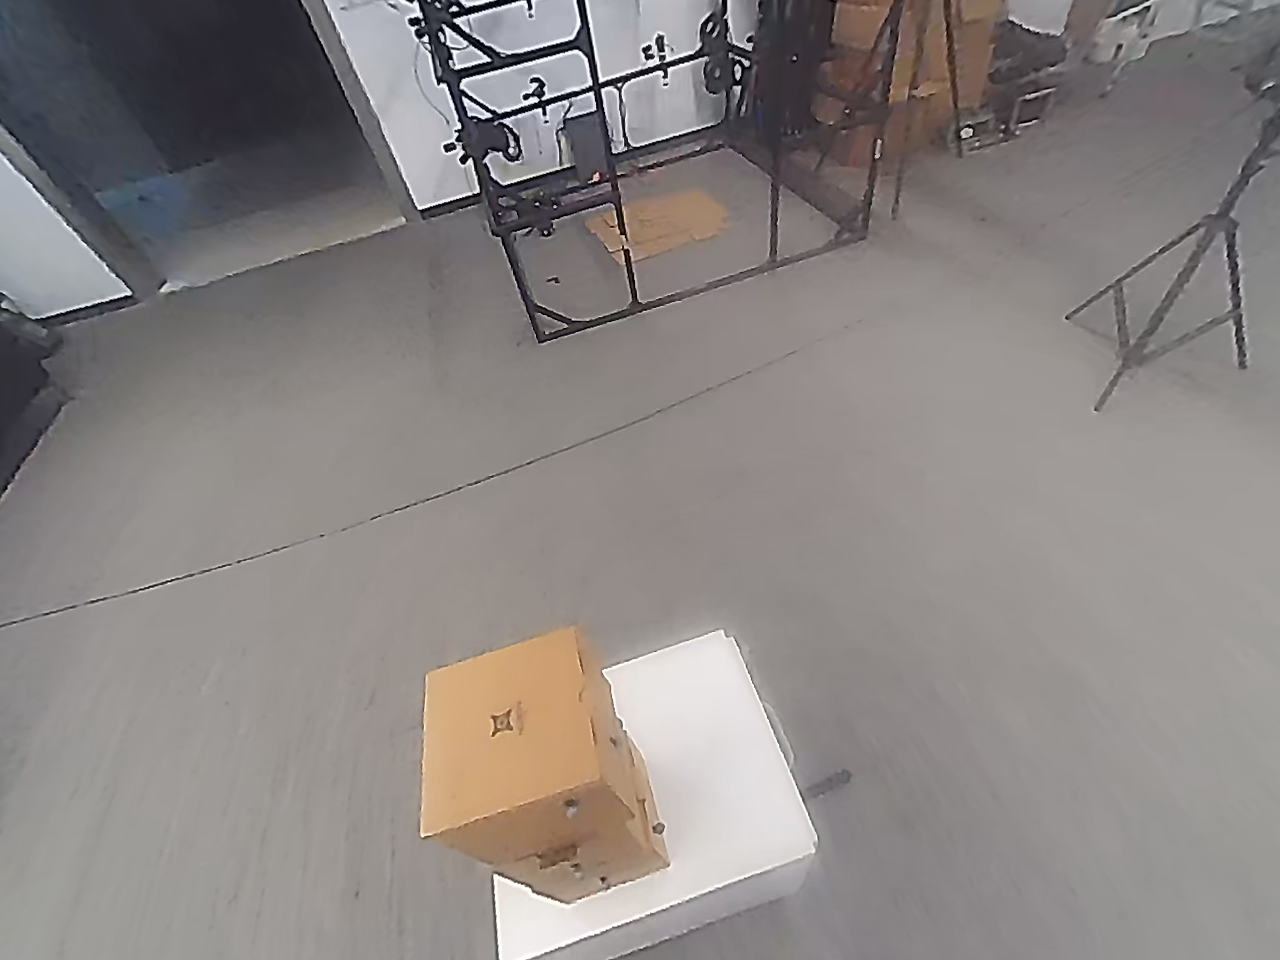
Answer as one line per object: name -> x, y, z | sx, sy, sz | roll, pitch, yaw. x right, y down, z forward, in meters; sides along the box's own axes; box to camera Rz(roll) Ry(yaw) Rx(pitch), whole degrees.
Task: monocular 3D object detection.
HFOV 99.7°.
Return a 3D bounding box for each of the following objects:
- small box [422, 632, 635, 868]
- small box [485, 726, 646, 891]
small box -> -0.119, 0.304, 0.605 | 0.179, 0.176, 0.168 | -17, 46, -3
small box -> -0.099, 0.415, 0.724 | 0.168, 0.176, 0.179 | -17, 46, -1
